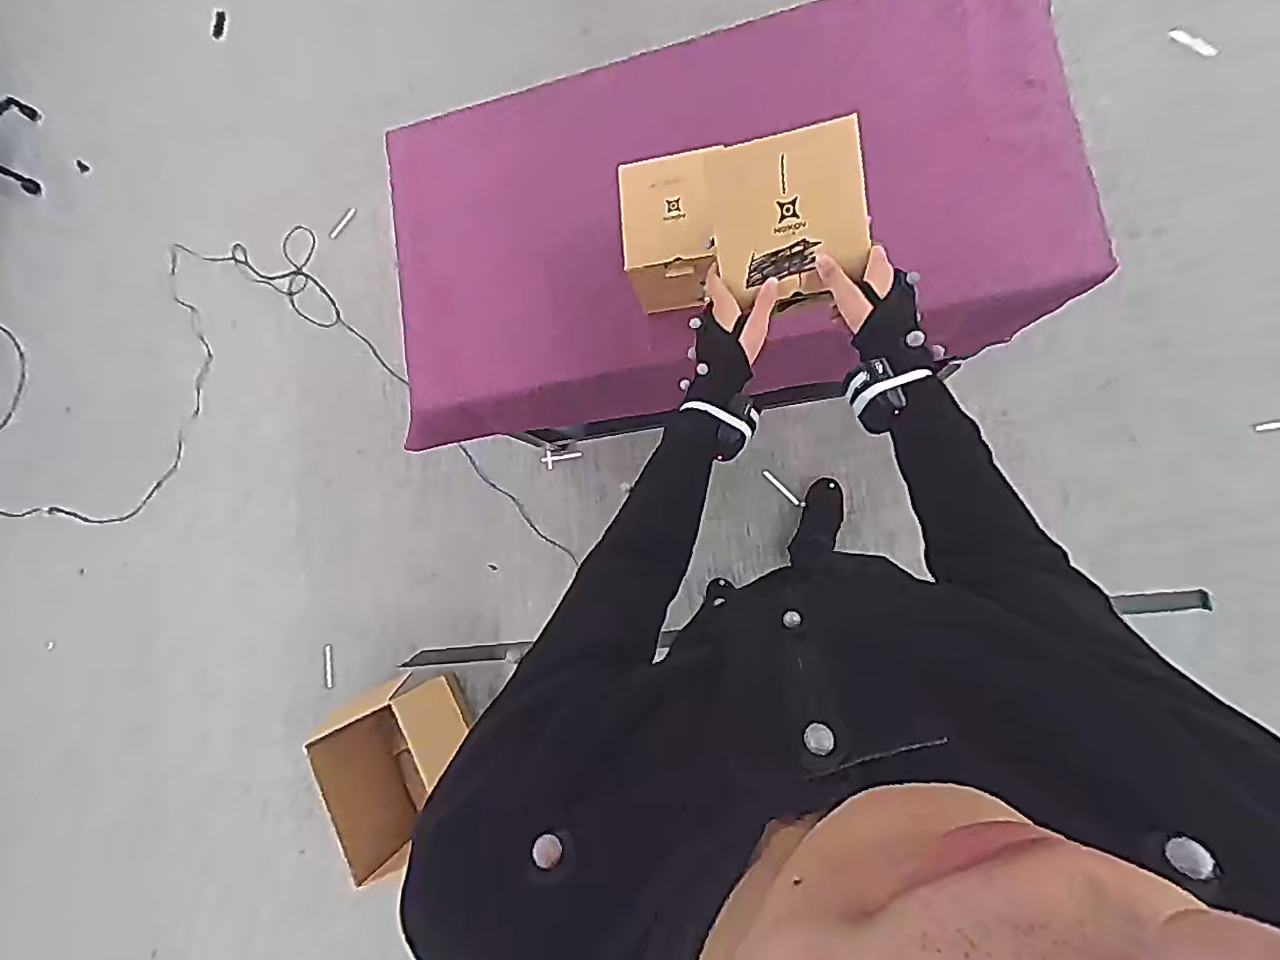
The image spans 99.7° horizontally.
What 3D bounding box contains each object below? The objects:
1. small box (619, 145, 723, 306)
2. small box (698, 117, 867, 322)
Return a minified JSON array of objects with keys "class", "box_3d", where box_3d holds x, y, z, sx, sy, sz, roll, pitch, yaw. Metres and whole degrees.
[{"class":"small box","box_3d":[0.067,-0.403,0.893,0.168,0.176,0.179,-5,83,10]},{"class":"small box","box_3d":[0.170,-0.299,0.668,0.168,0.176,0.179,-9,99,11]}]
